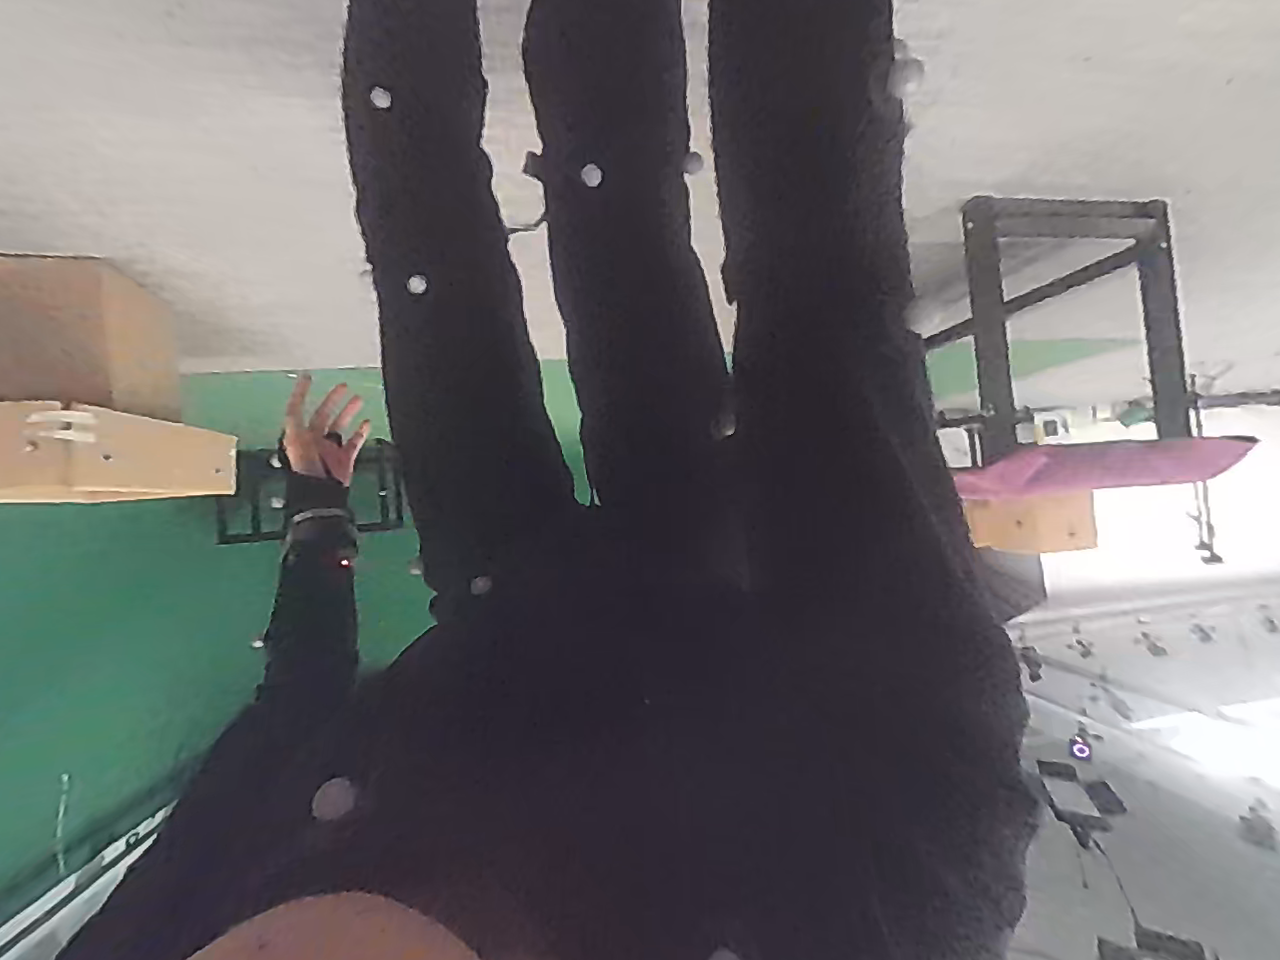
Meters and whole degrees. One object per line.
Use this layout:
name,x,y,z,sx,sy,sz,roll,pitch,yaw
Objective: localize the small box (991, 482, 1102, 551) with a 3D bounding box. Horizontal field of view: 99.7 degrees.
small box,1.102,0.100,1.479,0.179,0.176,0.168,-5,177,-7
